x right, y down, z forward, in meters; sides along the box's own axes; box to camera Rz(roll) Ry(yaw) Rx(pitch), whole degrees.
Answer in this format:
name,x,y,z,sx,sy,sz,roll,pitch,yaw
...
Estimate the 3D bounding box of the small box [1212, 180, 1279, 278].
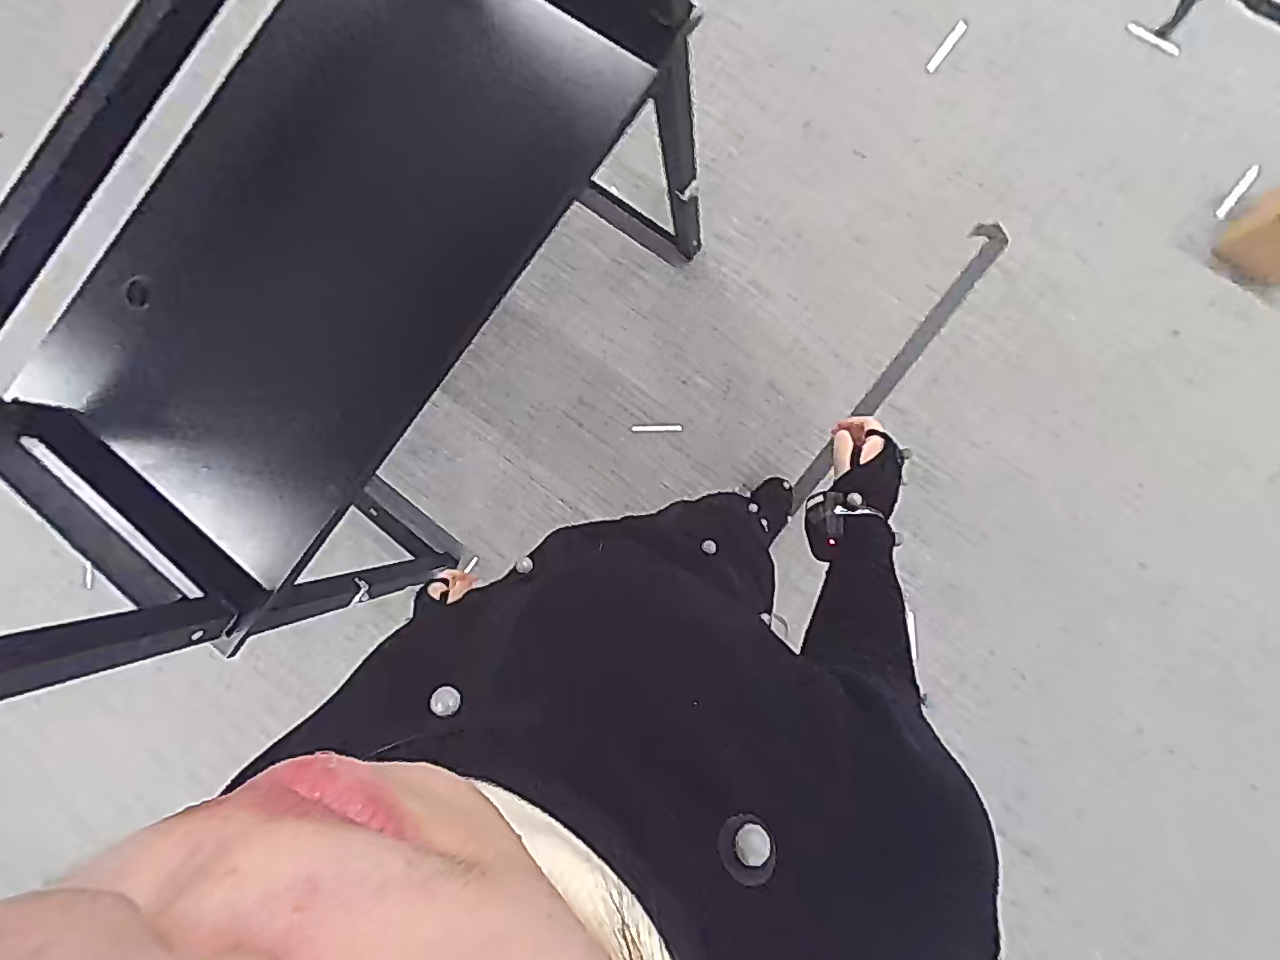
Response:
name,x,y,z,sx,sy,sz,roll,pitch,yaw
small box,1.509,-0.592,1.238,0.179,0.176,0.168,40,93,7
